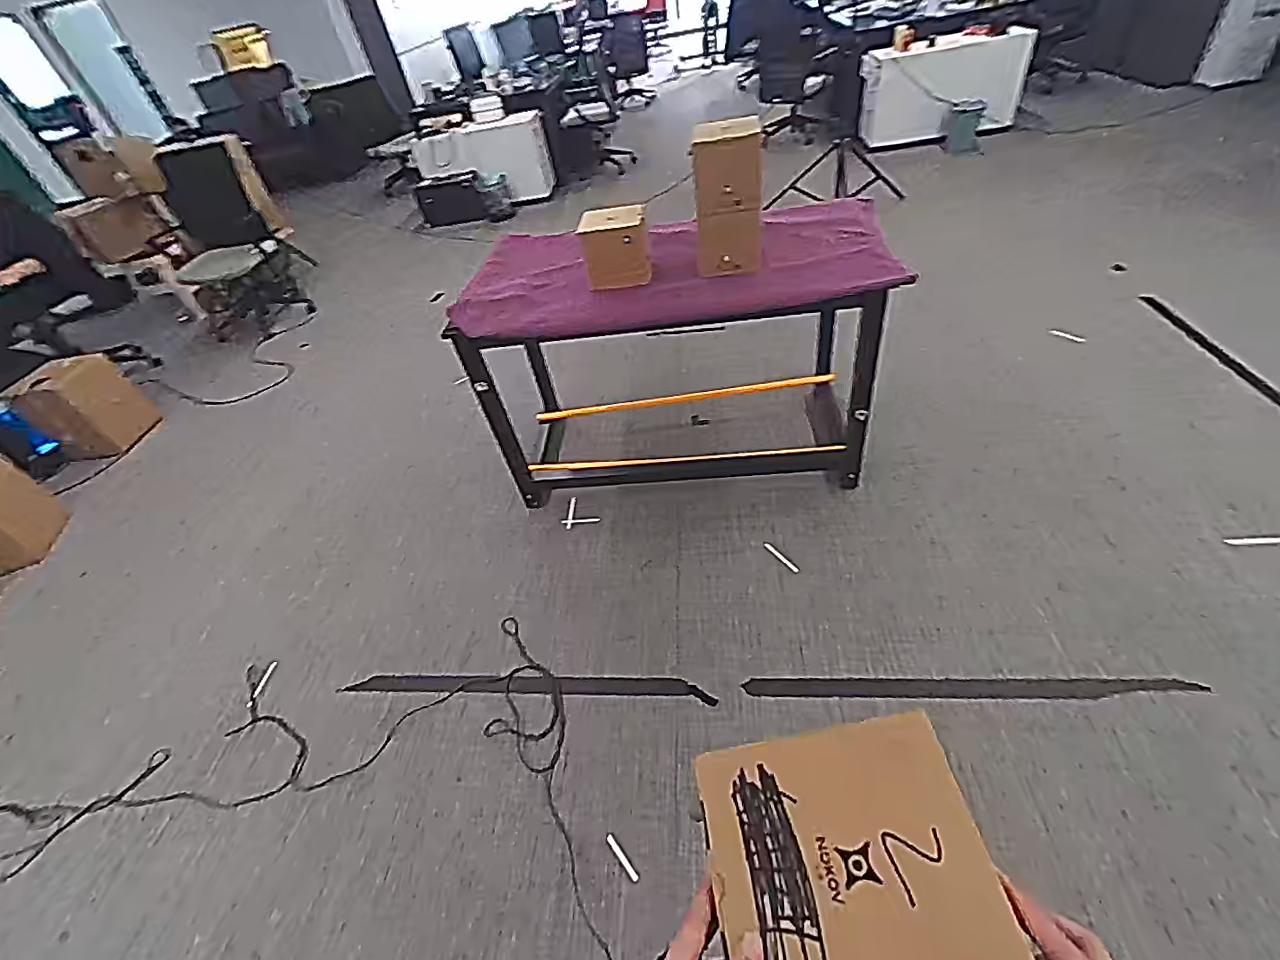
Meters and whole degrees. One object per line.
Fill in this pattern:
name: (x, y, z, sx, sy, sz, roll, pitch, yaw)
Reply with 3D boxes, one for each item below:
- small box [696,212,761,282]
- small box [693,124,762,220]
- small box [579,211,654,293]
small box: (0.247, -0.673, 1.505, 0.168, 0.176, 0.179, -3, 44, 10)
small box: (0.226, -0.791, 1.391, 0.168, 0.176, 0.179, -3, 44, 11)
small box: (-0.062, -0.651, 1.553, 0.179, 0.176, 0.168, -3, 44, 9)
